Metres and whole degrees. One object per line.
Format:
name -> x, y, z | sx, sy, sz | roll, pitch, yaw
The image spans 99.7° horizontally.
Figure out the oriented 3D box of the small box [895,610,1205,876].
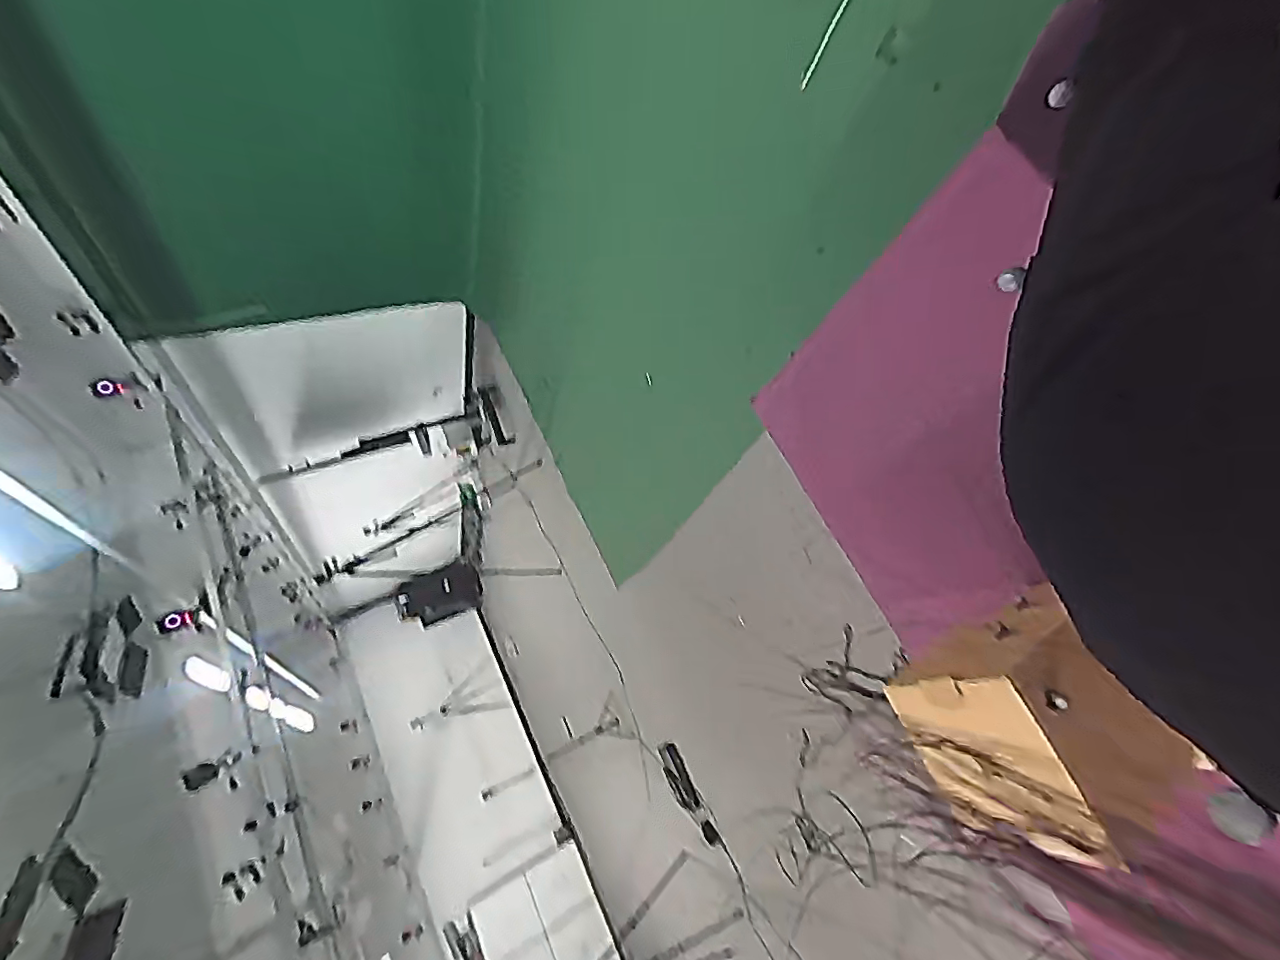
small box -> 0.426, 0.263, 0.574 | 0.179, 0.176, 0.168 | 63, 152, 15
